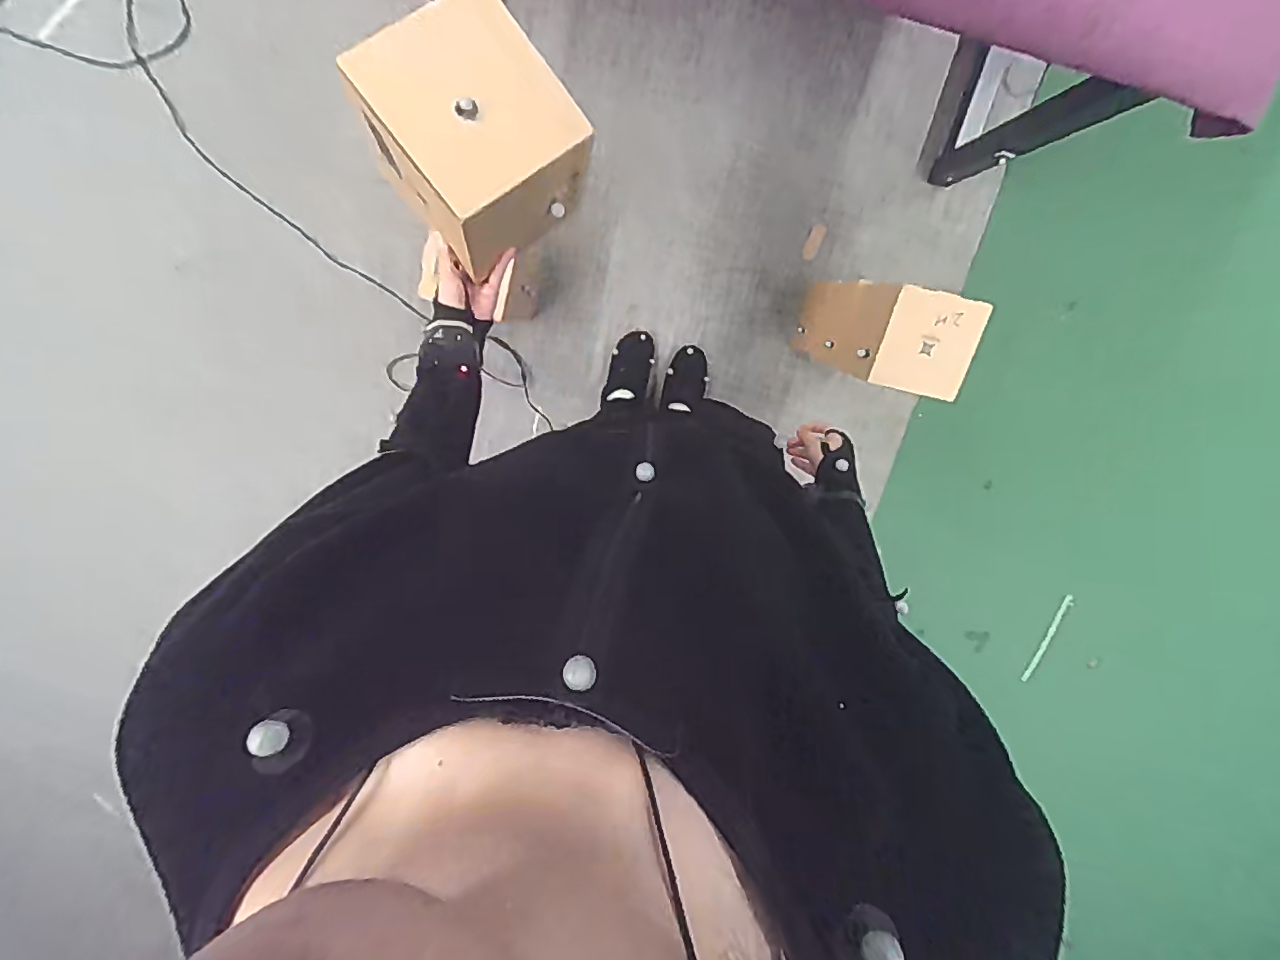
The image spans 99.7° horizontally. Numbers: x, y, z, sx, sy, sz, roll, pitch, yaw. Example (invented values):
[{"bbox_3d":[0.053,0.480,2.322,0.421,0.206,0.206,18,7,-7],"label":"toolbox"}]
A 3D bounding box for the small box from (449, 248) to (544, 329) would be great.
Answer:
[{"bbox_3d":[-0.339,-0.478,1.304,0.168,0.176,0.179,17,107,-4],"label":"small box"}]

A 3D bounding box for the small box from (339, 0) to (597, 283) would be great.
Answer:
[{"bbox_3d":[-0.172,-0.356,0.582,0.176,0.168,0.179,-41,98,-10],"label":"small box"}]

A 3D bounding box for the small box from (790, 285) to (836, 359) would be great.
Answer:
[{"bbox_3d":[0.490,-0.368,1.327,0.179,0.176,0.168,14,107,-4],"label":"small box"}]

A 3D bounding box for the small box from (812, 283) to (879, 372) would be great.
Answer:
[{"bbox_3d":[0.492,-0.318,1.174,0.168,0.176,0.179,12,109,-3],"label":"small box"}]

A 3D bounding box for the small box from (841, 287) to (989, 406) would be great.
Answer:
[{"bbox_3d":[0.502,-0.255,1.020,0.168,0.176,0.179,12,108,-4],"label":"small box"}]
